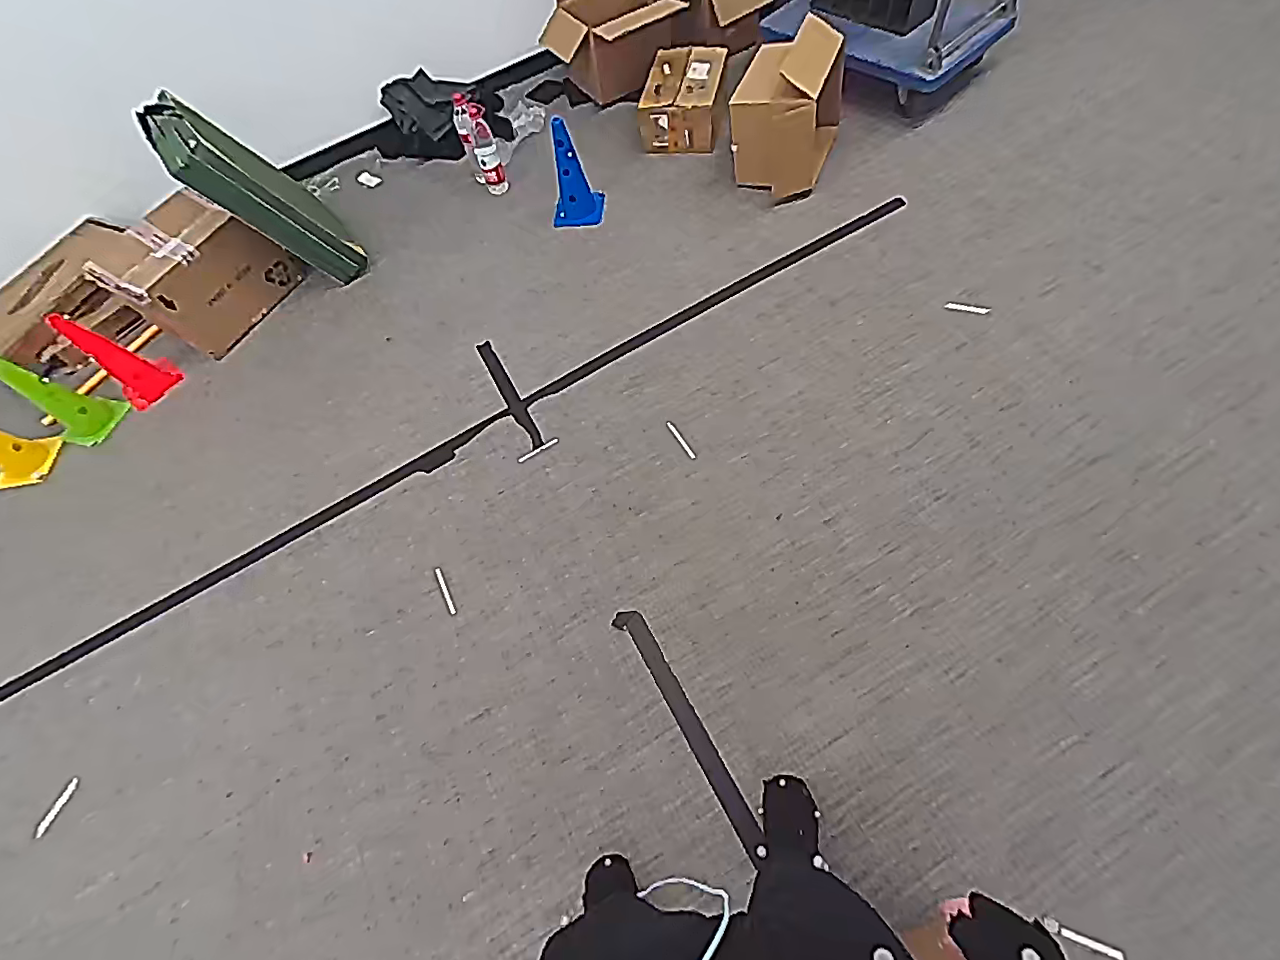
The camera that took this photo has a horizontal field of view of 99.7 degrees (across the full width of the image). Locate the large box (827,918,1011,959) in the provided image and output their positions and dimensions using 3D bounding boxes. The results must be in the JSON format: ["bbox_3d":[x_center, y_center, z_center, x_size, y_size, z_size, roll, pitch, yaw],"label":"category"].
[{"bbox_3d":[0.419,0.959,0.836,0.408,0.320,0.320,-18,61,-3],"label":"large box"}]
